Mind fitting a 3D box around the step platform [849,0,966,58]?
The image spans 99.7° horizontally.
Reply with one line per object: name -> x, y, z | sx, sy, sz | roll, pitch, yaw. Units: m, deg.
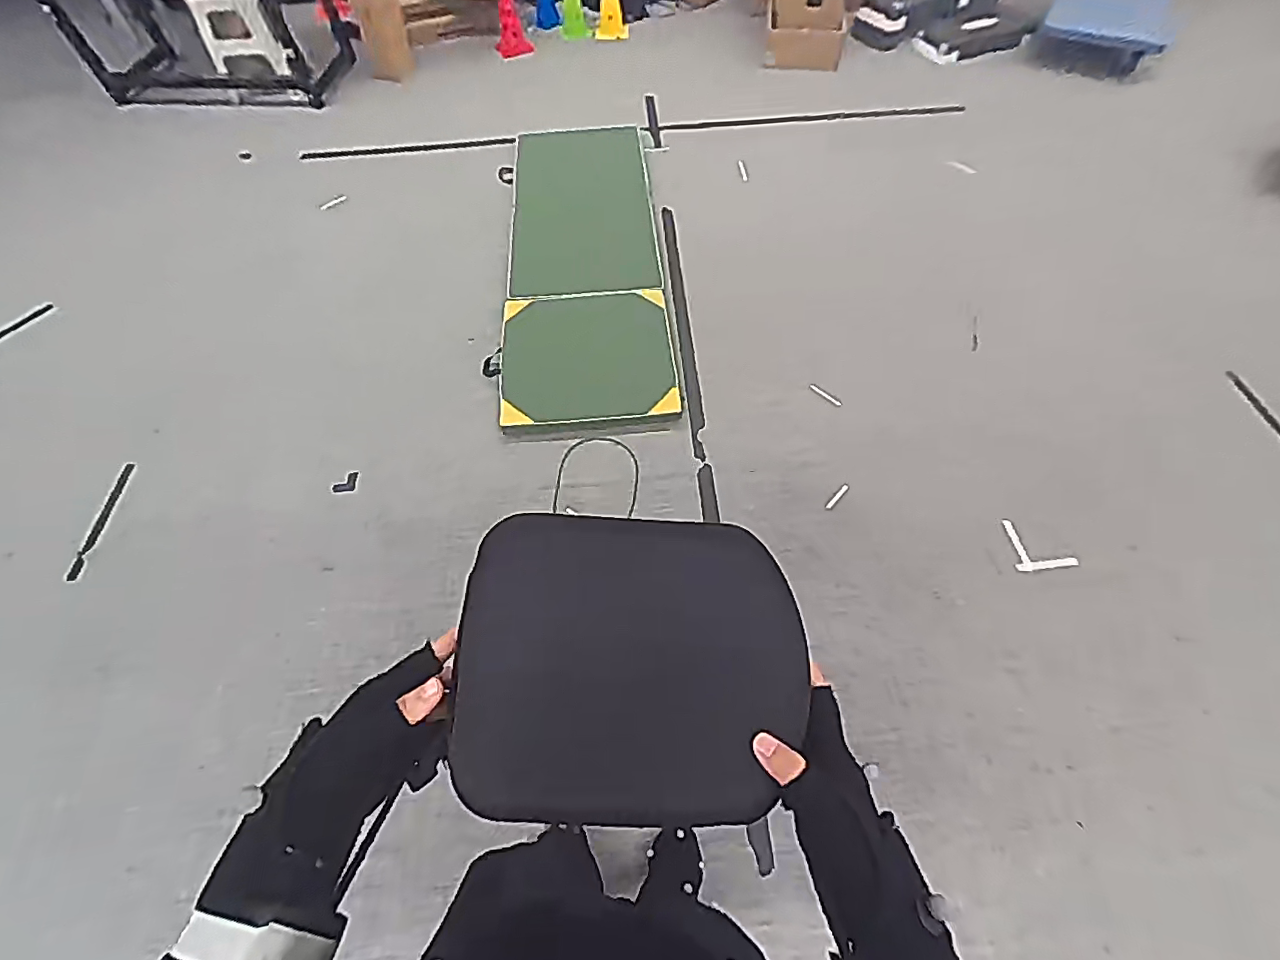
step platform -> 1.578, -2.718, 3.172 | 0.684, 0.204, 0.286 | -30, 63, -15
